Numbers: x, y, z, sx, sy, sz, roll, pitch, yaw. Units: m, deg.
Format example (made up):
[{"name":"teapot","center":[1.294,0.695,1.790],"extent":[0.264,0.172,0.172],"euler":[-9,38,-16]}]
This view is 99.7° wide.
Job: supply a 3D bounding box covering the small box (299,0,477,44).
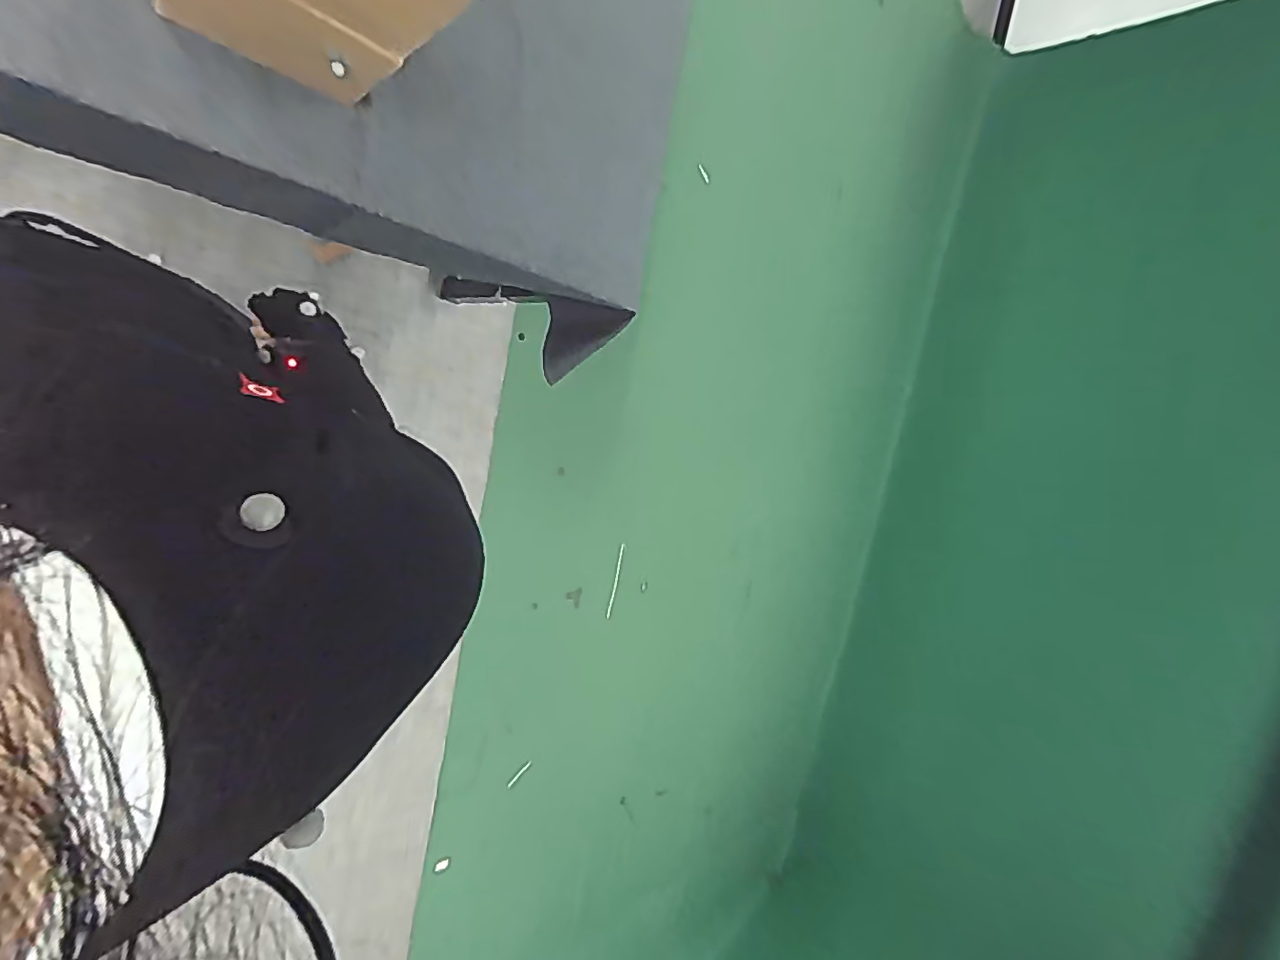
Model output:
[{"name":"small box","center":[-0.225,-0.478,0.408],"extent":[0.179,0.176,0.168],"euler":[2,101,-45]}]
